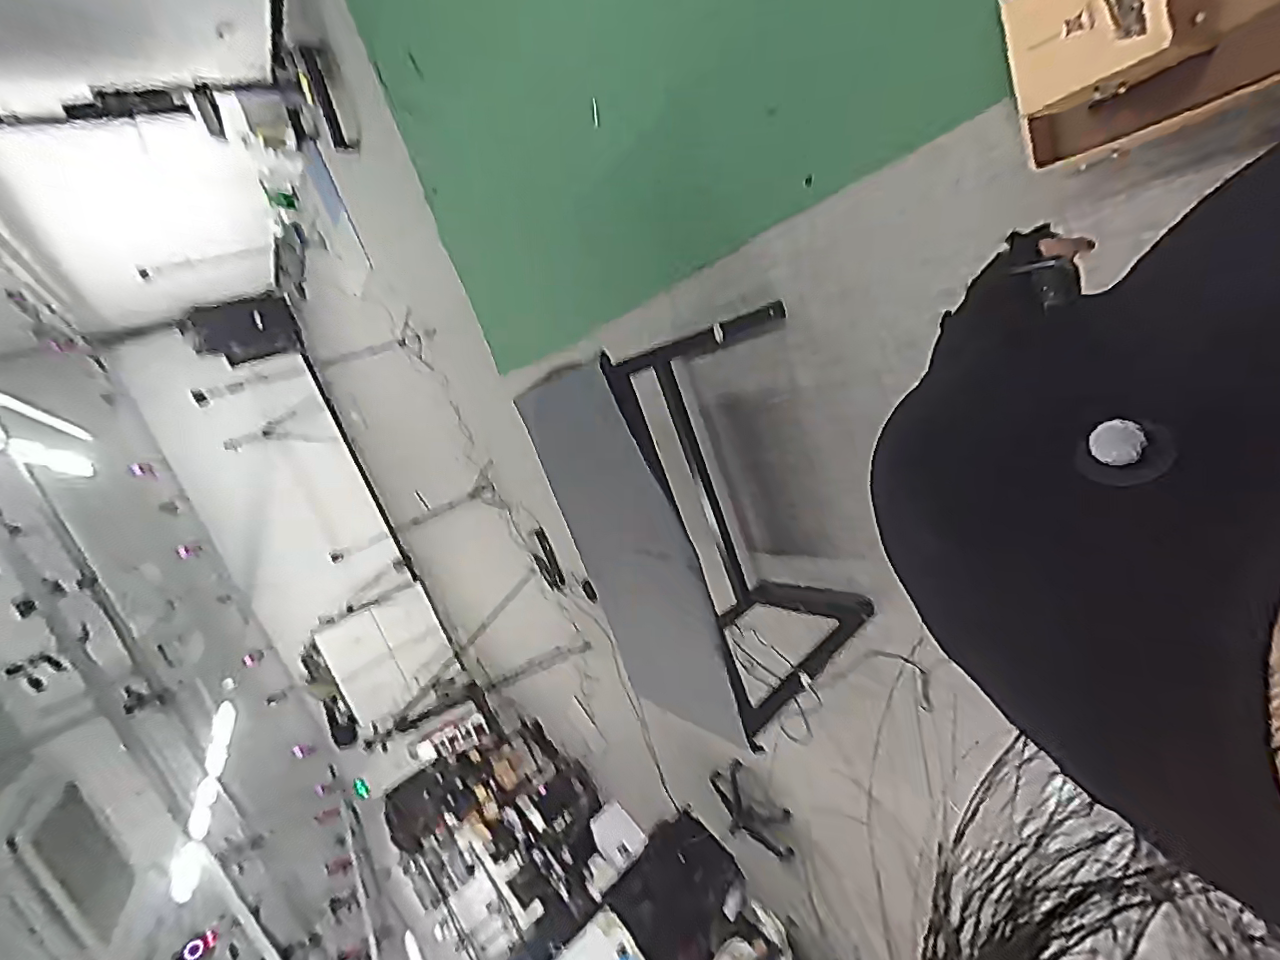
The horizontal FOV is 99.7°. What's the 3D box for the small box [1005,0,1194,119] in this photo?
[{"bbox_3d":[0.675,-0.665,0.791,0.179,0.176,0.168,-1,113,55],"label":"small box"}]
